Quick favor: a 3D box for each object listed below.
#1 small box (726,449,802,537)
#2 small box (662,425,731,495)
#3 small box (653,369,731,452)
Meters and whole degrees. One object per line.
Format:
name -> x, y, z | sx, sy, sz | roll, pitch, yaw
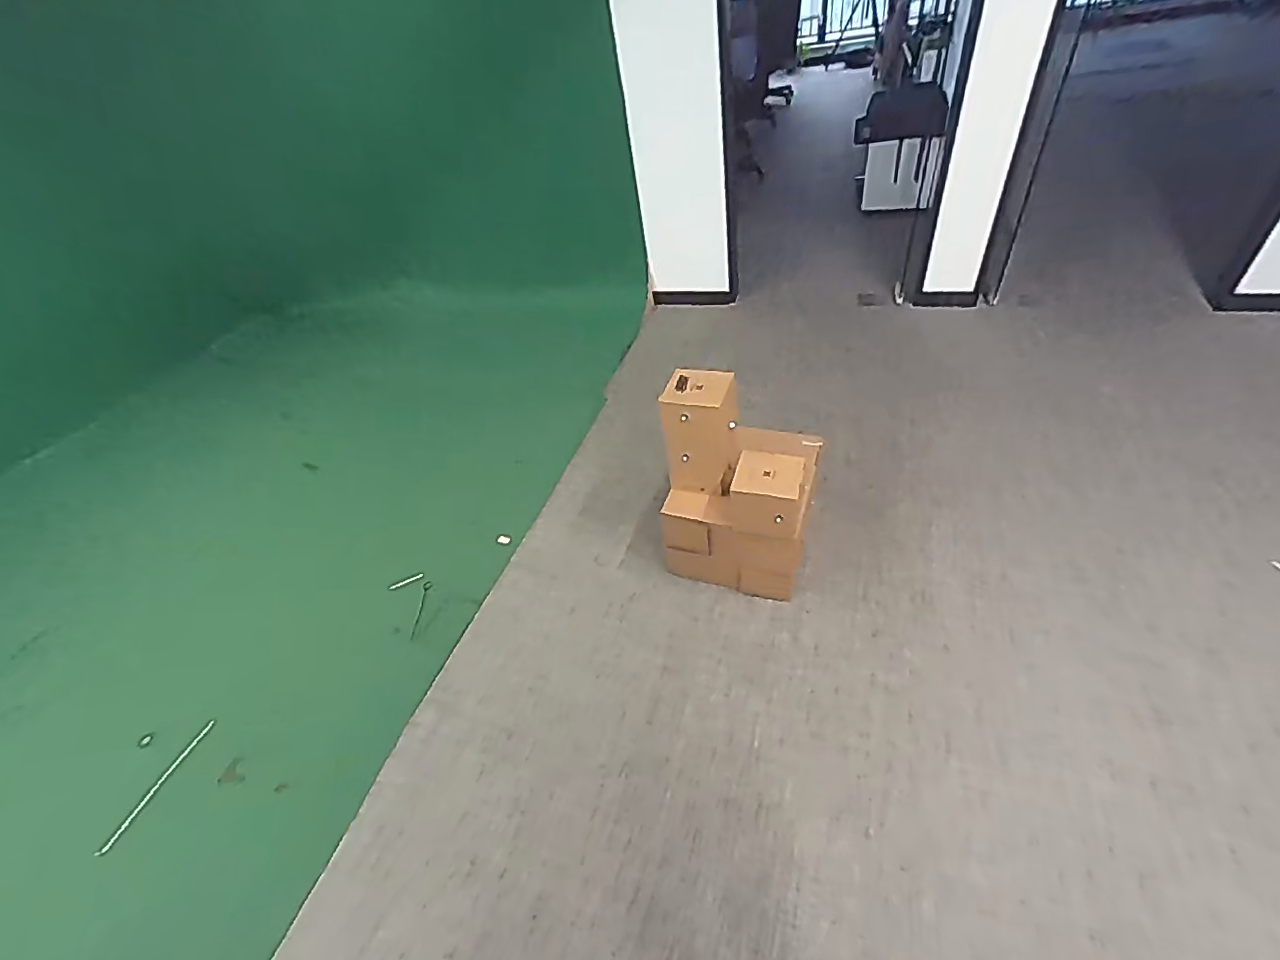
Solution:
small box -> 0.343, 0.037, 1.490 | 0.179, 0.176, 0.168 | 8, 46, 19
small box -> 0.178, -0.081, 1.652 | 0.168, 0.176, 0.179 | 9, 45, 21
small box -> 0.155, -0.197, 1.537 | 0.179, 0.176, 0.168 | 9, 46, 21
